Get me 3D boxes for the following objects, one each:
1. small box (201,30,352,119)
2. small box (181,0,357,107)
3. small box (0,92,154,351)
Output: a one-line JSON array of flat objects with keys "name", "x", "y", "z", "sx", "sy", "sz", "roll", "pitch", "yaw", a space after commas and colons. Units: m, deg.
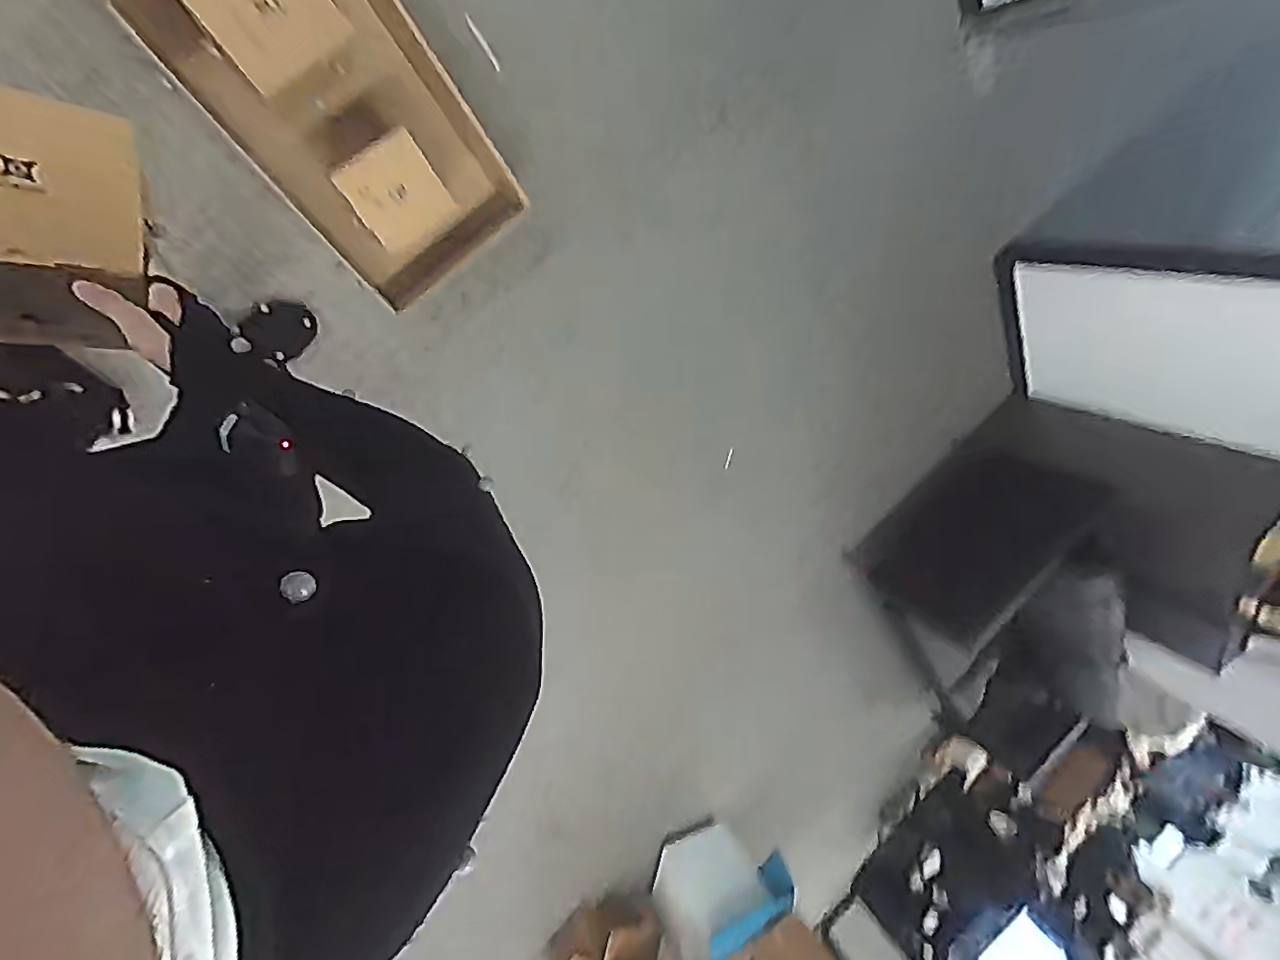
[{"name": "small box", "x": -0.652, "y": -0.782, "z": 0.965, "sx": 0.179, "sy": 0.176, "sz": 0.168, "roll": -41, "pitch": 128, "yaw": -8}, {"name": "small box", "x": -0.577, "y": -0.716, "z": 0.838, "sx": 0.179, "sy": 0.176, "sz": 0.168, "roll": -41, "pitch": 129, "yaw": -7}, {"name": "small box", "x": -0.606, "y": -0.249, "z": 0.539, "sx": 0.168, "sy": 0.176, "sz": 0.179, "roll": -6, "pitch": 81, "yaw": -39}]
